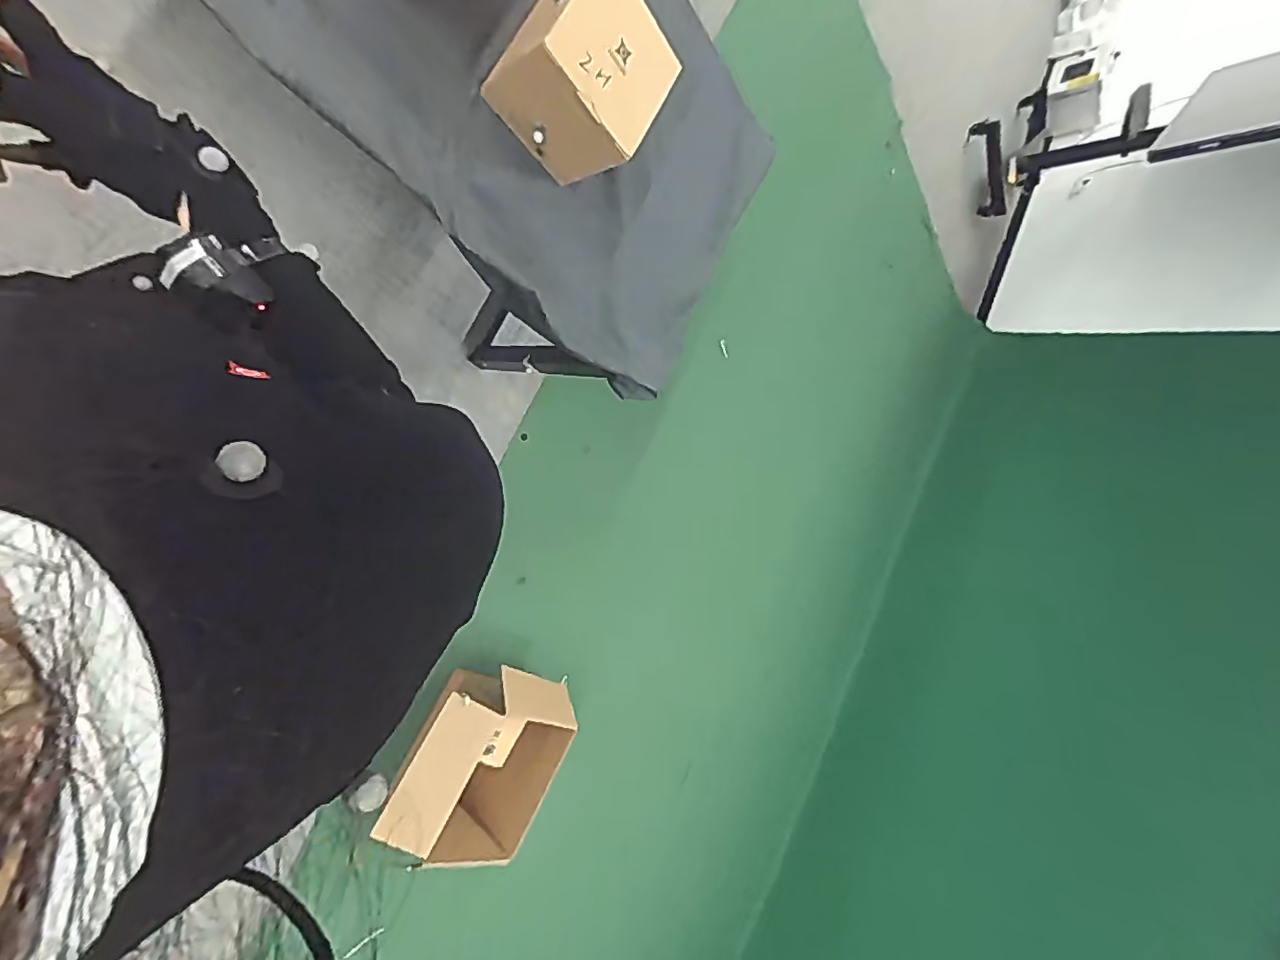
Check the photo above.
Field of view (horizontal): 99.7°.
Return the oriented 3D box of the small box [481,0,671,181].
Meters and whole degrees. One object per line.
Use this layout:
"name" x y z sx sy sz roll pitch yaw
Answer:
"small box" -0.093 -0.562 0.759 0.168 0.176 0.179 36 75 -43
